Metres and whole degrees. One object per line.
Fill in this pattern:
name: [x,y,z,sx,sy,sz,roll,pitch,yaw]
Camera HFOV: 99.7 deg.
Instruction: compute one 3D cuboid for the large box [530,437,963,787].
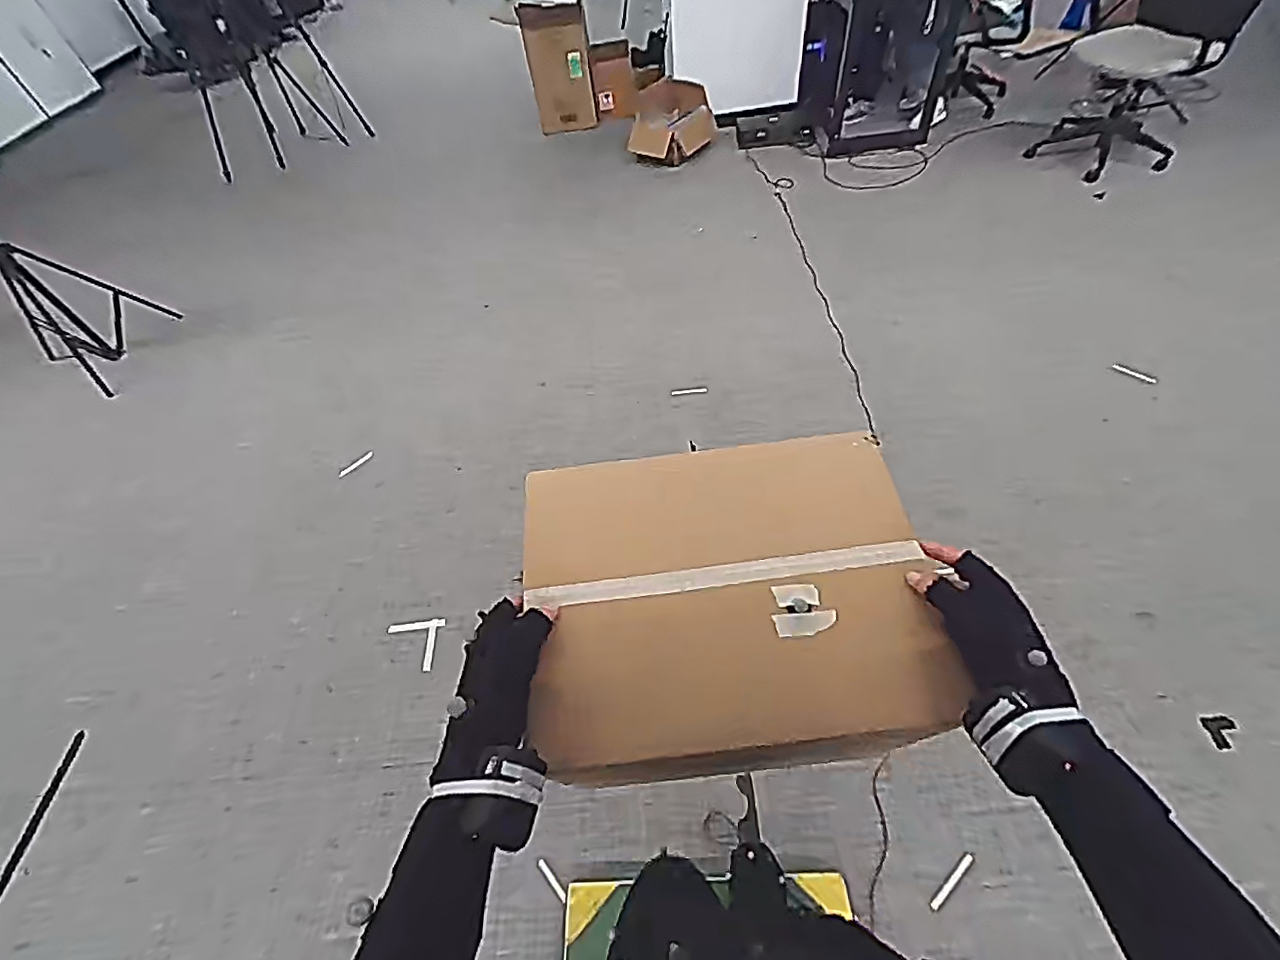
large box: [0.090,0.182,0.693,0.408,0.320,0.320,-8,58,-1]
